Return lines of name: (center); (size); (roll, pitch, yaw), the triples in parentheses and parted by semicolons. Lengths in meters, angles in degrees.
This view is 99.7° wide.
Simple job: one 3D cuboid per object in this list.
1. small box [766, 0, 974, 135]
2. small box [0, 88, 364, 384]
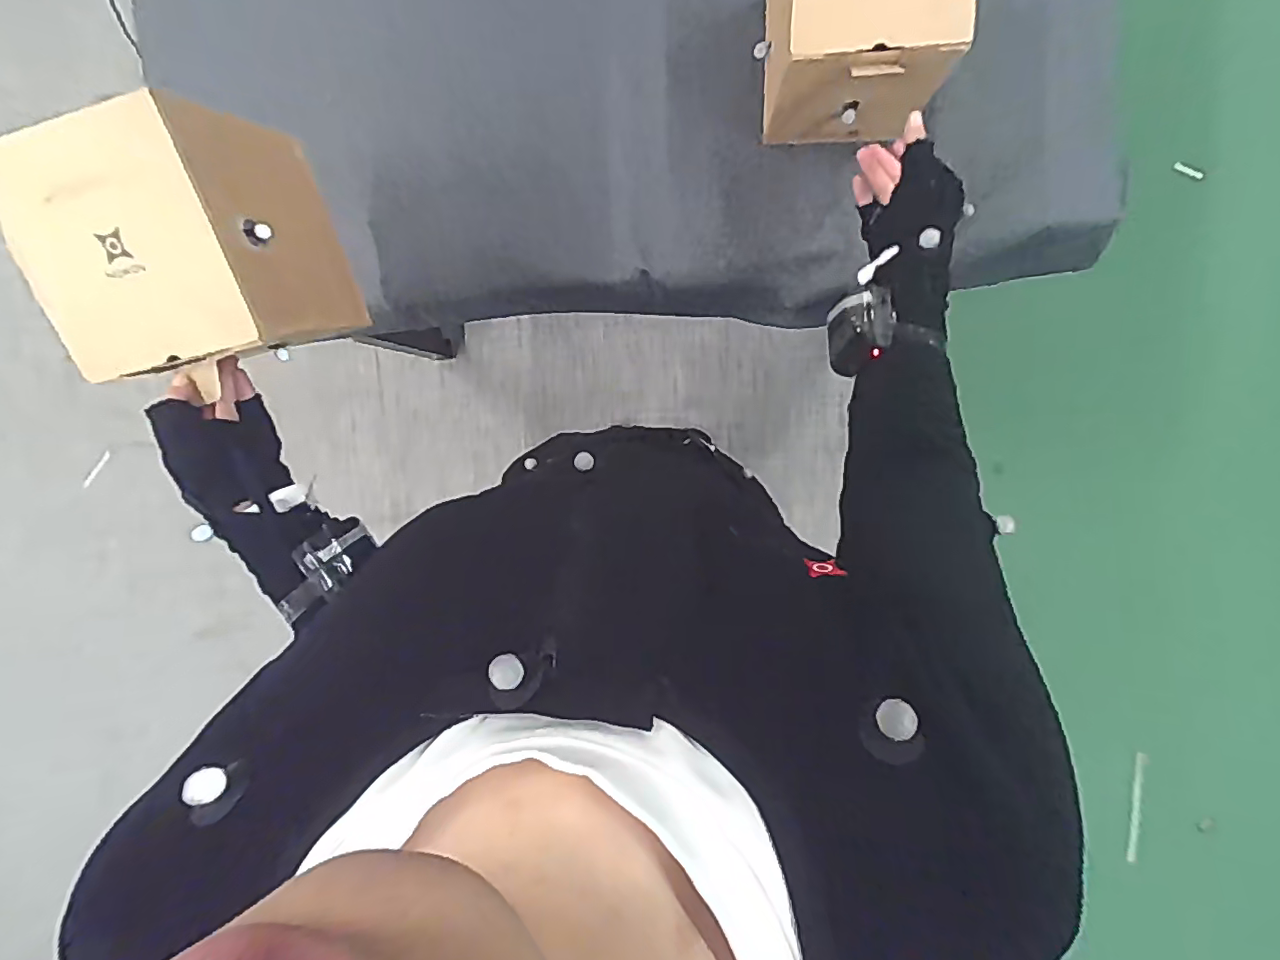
small box: (0.228, -0.488, 0.568); (0.168, 0.176, 0.179); (1, 97, 5)
small box: (-0.383, -0.199, 0.477); (0.168, 0.176, 0.179); (-11, 109, 8)
